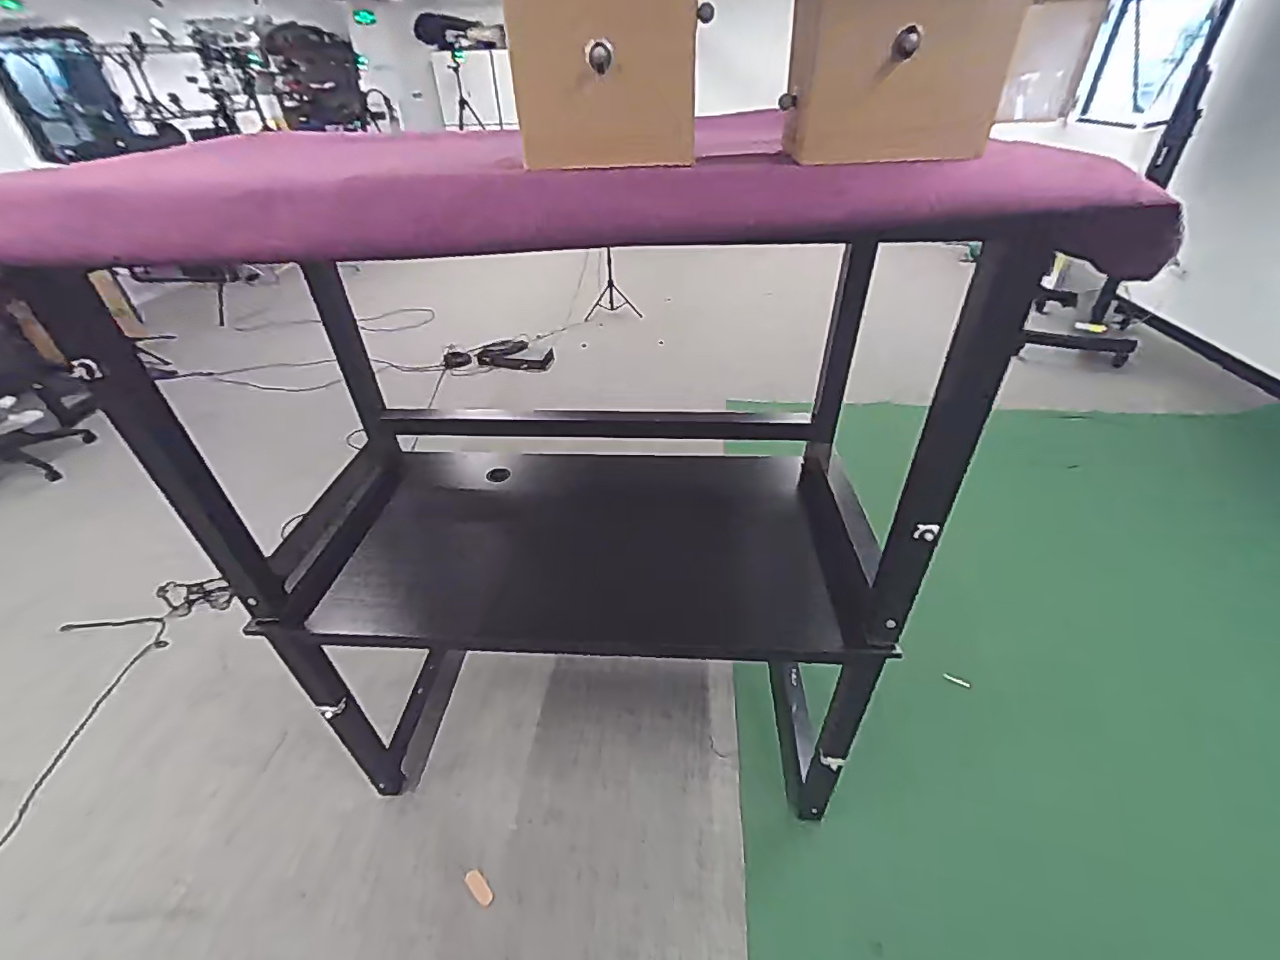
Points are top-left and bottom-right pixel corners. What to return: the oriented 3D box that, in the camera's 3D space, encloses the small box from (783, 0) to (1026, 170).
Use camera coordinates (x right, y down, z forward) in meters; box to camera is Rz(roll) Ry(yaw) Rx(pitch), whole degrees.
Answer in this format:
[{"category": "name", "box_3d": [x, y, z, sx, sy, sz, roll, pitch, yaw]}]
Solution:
[{"category": "small box", "box_3d": [0.251, -0.423, 0.547, 0.179, 0.176, 0.168, 0, 36, 6]}]
